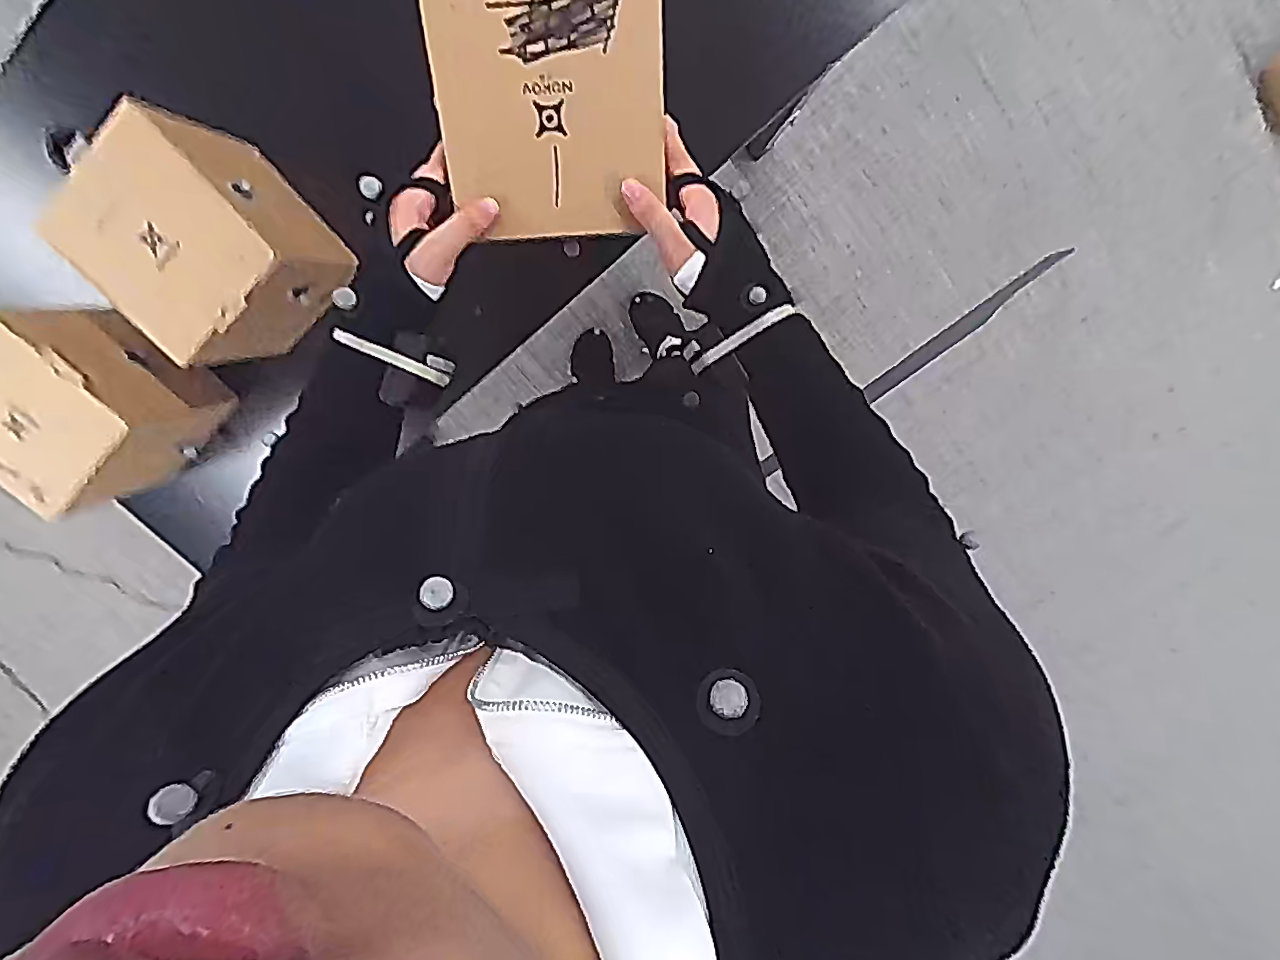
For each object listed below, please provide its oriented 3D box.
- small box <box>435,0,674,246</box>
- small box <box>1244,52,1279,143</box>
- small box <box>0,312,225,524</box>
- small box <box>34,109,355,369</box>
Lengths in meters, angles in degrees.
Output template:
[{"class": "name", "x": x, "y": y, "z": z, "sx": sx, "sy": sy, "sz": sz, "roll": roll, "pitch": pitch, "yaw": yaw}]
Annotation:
[{"class": "small box", "x": -0.060, "y": -0.299, "z": 0.466, "sx": 0.168, "sy": 0.176, "sz": 0.179, "roll": -2, "pitch": 114, "yaw": 0}, {"class": "small box", "x": 1.446, "y": -0.850, "z": 1.130, "sx": 0.168, "sy": 0.176, "sz": 0.179, "roll": -38, "pitch": 105, "yaw": 13}, {"class": "small box", "x": -0.658, "y": -0.084, "z": 0.652, "sx": 0.179, "sy": 0.176, "sz": 0.168, "roll": -41, "pitch": 103, "yaw": 12}, {"class": "small box", "x": -0.463, "y": -0.249, "z": 0.596, "sx": 0.168, "sy": 0.176, "sz": 0.179, "roll": -39, "pitch": 103, "yaw": 11}]
